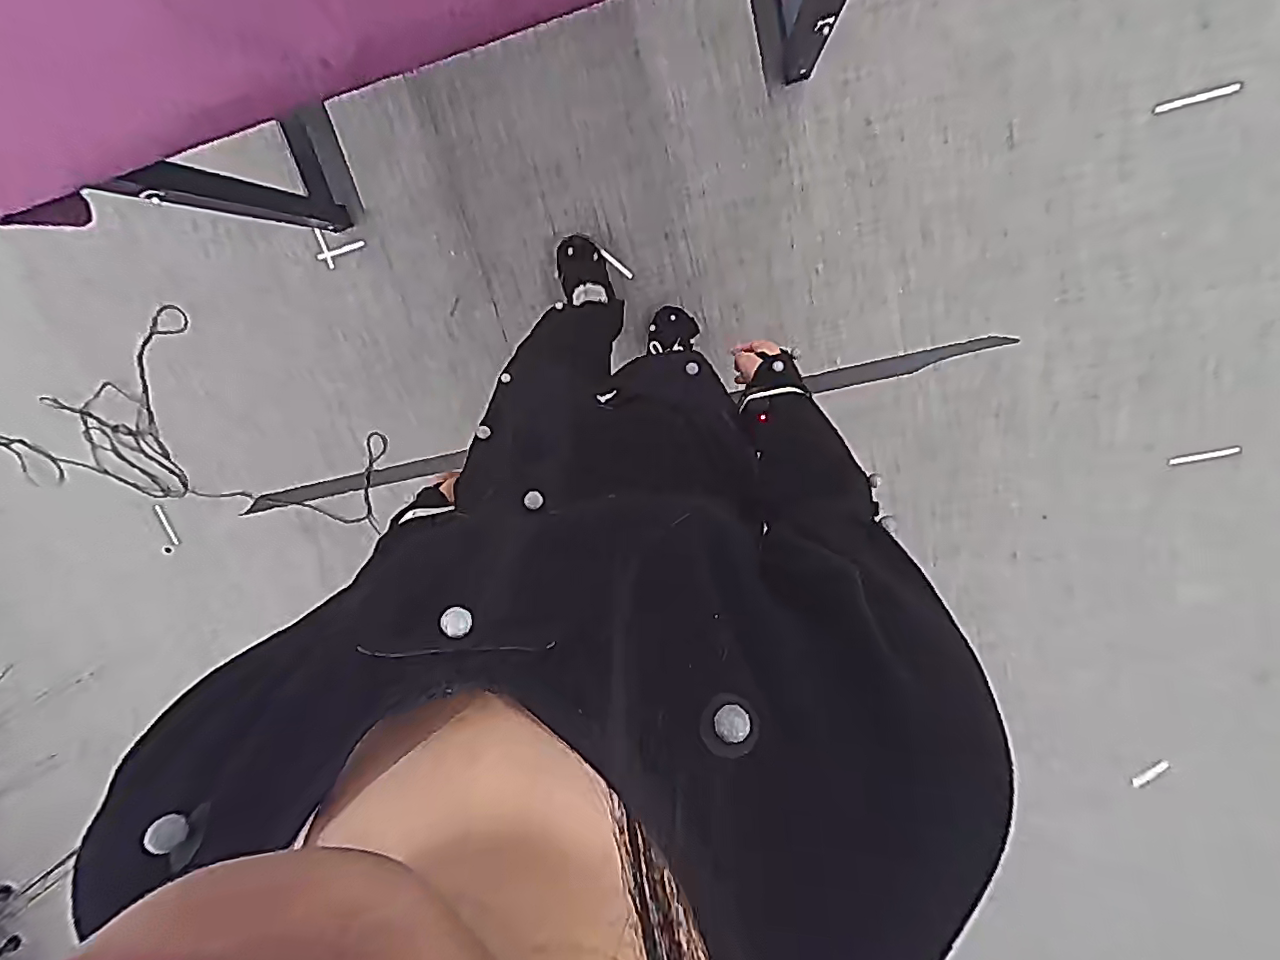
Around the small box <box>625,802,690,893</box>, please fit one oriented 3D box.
[{"bbox_3d":[0.064,1.227,1.814,0.168,0.176,0.179,-22,104,10],"label":"small box"}]
